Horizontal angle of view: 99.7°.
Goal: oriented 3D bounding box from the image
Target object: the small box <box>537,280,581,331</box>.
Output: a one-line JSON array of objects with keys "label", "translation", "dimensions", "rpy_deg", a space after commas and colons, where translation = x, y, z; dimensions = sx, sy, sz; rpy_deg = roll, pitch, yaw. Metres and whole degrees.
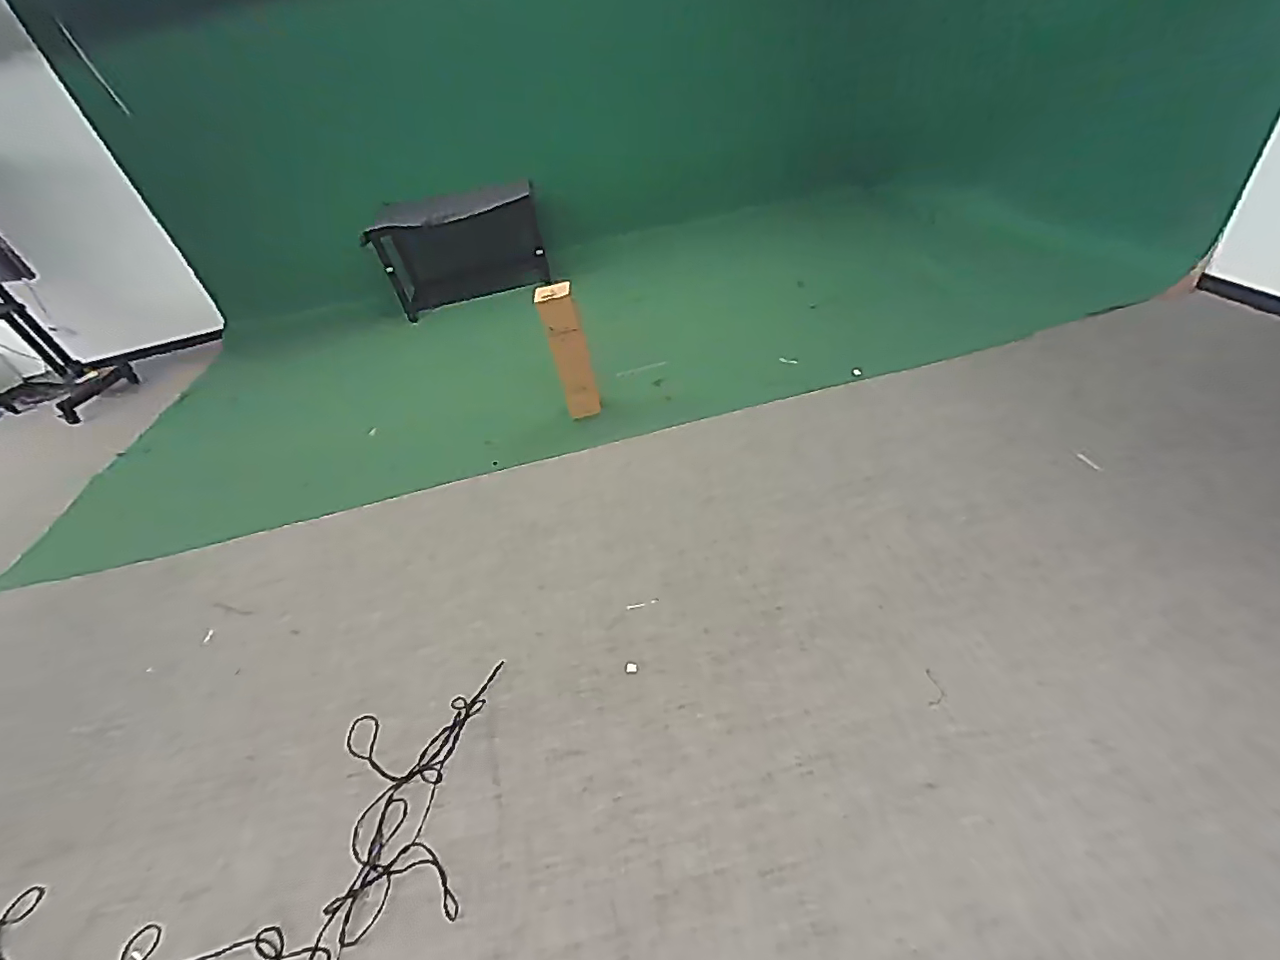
[{"label": "small box", "translation": [-0.380, -0.819, 2.554], "dimensions": [0.168, 0.176, 0.179], "rpy_deg": [-11, 39, 3]}]

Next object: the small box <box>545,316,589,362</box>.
[{"label": "small box", "translation": [-0.357, -0.702, 2.668], "dimensions": [0.179, 0.176, 0.168], "rpy_deg": [-12, 40, 2]}]

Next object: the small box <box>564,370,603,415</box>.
[{"label": "small box", "translation": [-0.302, -0.460, 2.882], "dimensions": [0.168, 0.176, 0.179], "rpy_deg": [-14, 39, 0]}]
